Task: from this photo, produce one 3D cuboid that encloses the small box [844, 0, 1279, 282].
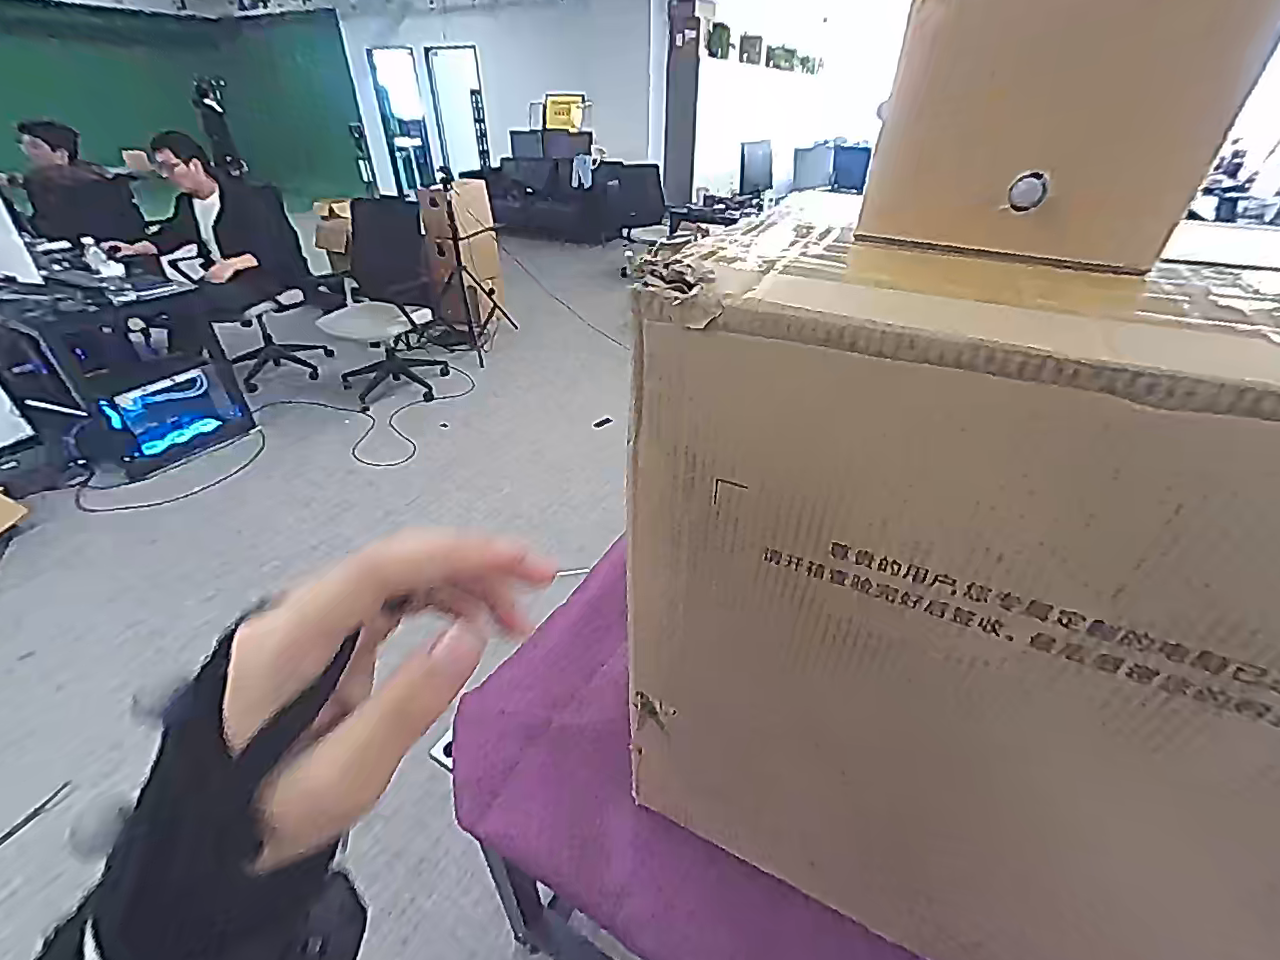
[{"bbox_3d":[0.263,-0.252,0.370,0.179,0.176,0.168,19,40,24],"label":"small box"}]
